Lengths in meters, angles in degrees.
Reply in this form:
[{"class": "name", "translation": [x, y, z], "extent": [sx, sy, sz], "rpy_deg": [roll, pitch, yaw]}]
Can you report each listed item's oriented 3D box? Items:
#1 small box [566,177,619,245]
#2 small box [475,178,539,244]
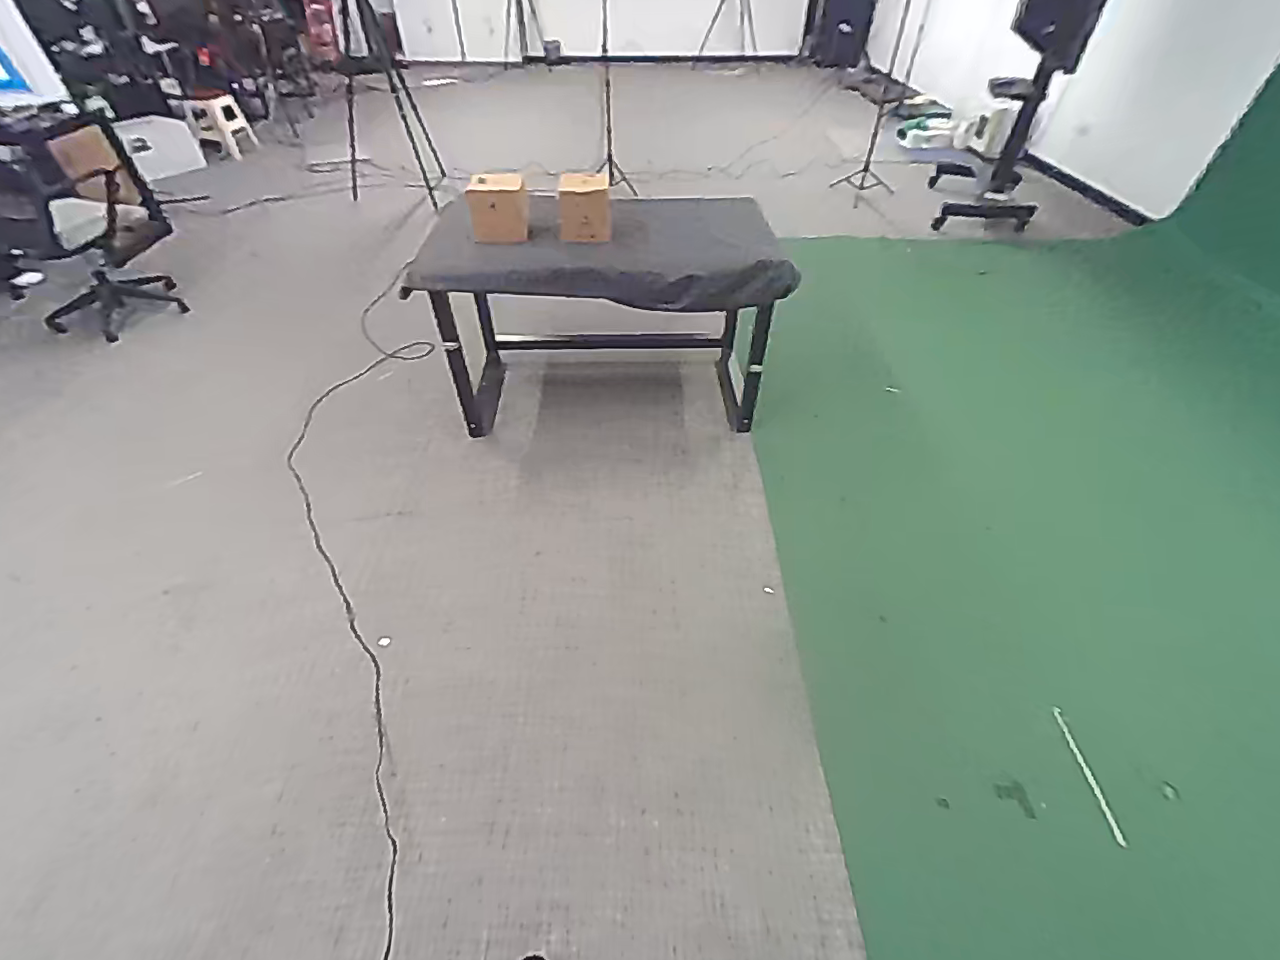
[{"class": "small box", "translation": [-0.160, -0.925, 1.865], "extent": [0.168, 0.176, 0.179], "rpy_deg": [-1, 46, -1]}, {"class": "small box", "translation": [-0.453, -0.925, 1.862], "extent": [0.179, 0.176, 0.168], "rpy_deg": [-1, 45, -3]}]
